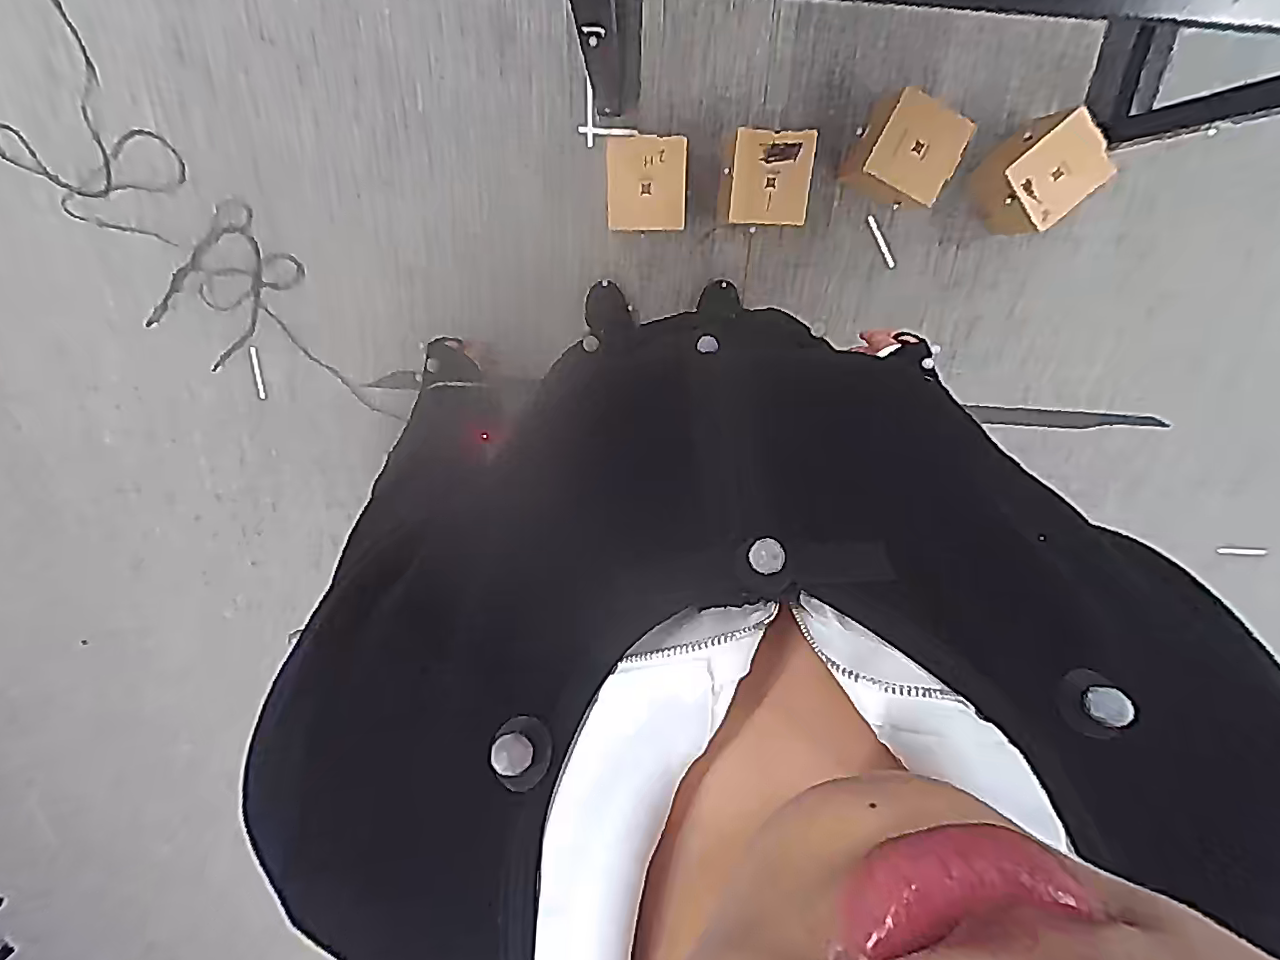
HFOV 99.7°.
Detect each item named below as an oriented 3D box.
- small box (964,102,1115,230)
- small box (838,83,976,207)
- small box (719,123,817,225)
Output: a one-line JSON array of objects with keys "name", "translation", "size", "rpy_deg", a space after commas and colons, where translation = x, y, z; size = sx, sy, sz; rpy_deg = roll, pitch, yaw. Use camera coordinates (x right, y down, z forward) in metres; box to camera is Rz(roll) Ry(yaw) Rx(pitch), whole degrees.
[{"name": "small box", "translation": [0.870, -0.680, 1.194], "size": [0.179, 0.176, 0.168], "rpy_deg": [-41, 107, 15]}, {"name": "small box", "translation": [0.569, -0.715, 1.179], "size": [0.179, 0.176, 0.168], "rpy_deg": [22, 110, -9]}, {"name": "small box", "translation": [0.272, -0.667, 1.195], "size": [0.168, 0.176, 0.179], "rpy_deg": [2, 115, -1]}]
